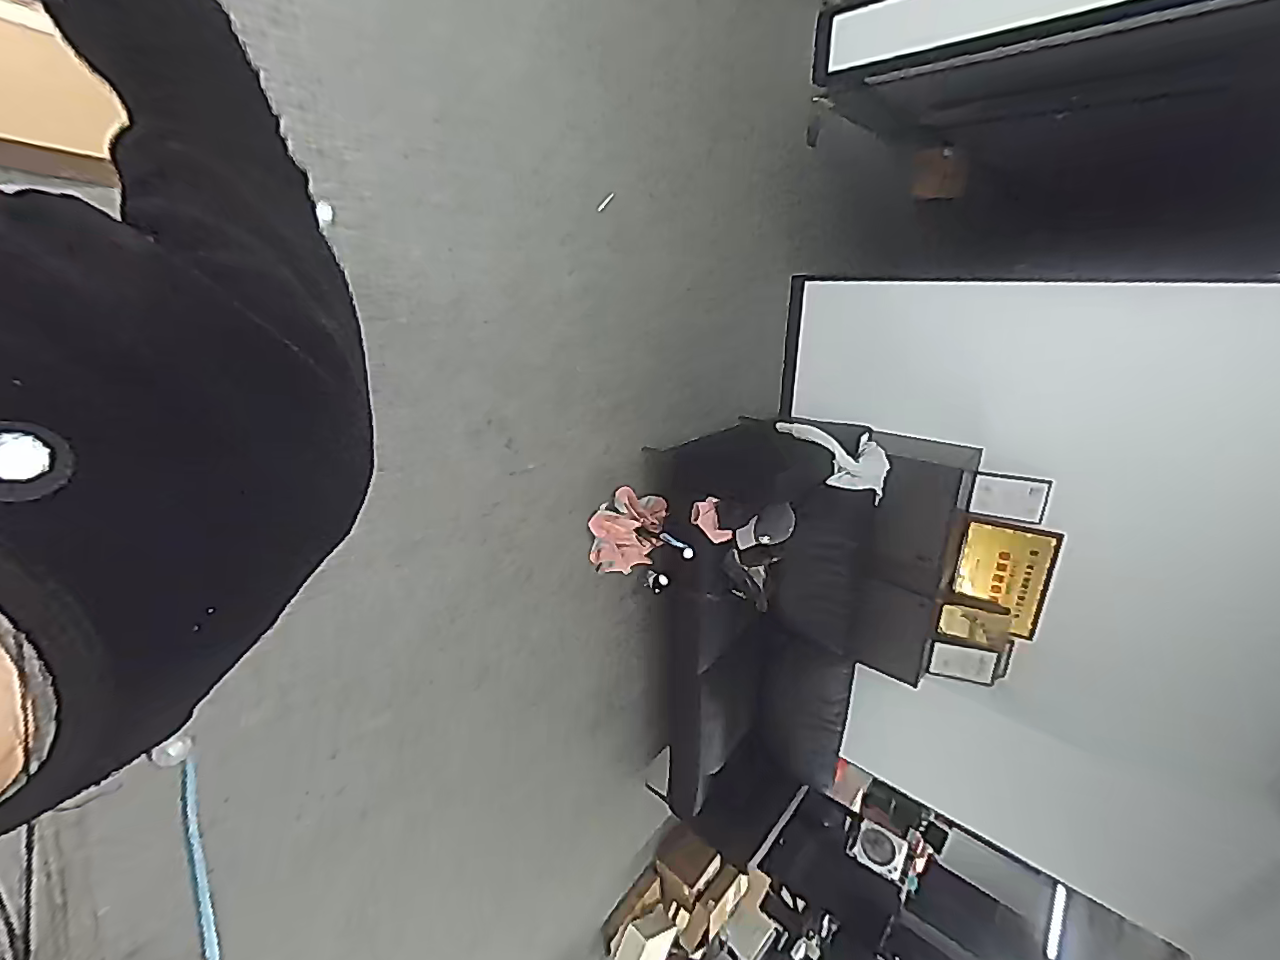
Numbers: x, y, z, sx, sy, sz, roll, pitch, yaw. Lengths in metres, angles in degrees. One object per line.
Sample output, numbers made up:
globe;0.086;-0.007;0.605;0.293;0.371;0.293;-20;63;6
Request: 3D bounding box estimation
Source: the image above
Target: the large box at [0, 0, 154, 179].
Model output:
large box;-1.015;-0.657;0.779;0.408;0.320;0.320;-13;113;-47
